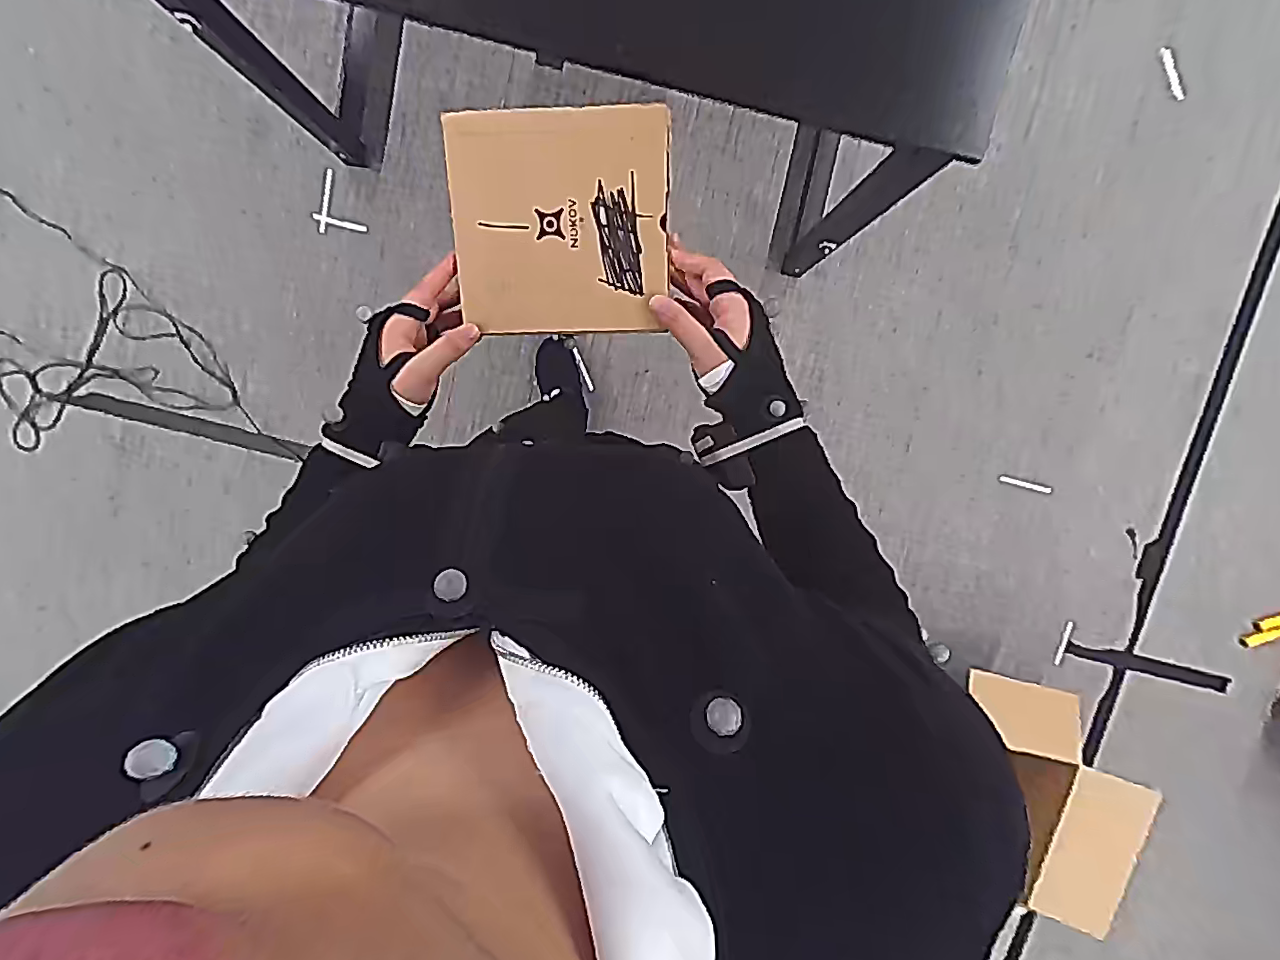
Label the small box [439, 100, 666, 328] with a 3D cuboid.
[{"bbox_3d":[-0.066,-0.231,0.509,0.179,0.176,0.168,0,105,2],"label":"small box"}]
